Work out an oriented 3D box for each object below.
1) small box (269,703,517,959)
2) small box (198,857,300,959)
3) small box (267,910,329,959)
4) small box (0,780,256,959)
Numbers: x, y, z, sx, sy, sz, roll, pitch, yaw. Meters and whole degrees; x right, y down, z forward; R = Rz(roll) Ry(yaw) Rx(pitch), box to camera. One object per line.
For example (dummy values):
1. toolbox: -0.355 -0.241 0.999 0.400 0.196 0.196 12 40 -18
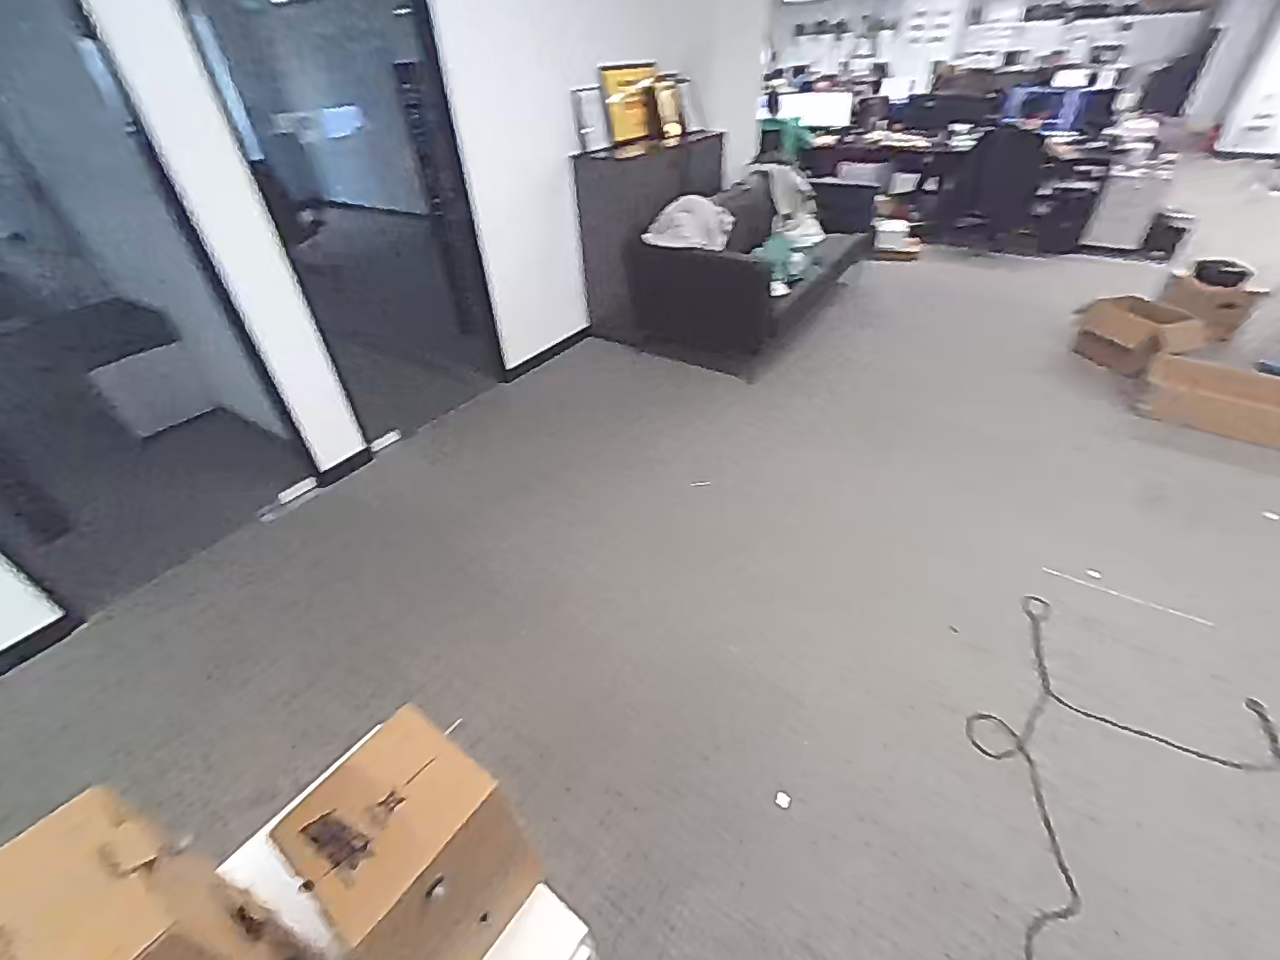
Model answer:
1. small box: -0.266 0.406 0.620 0.168 0.176 0.179 22 44 29
2. small box: -0.425 0.511 0.493 0.168 0.176 0.179 23 41 30
3. small box: -0.423 0.641 0.593 0.168 0.176 0.179 22 42 28
4. small box: -0.426 0.379 0.399 0.168 0.176 0.179 20 41 29
